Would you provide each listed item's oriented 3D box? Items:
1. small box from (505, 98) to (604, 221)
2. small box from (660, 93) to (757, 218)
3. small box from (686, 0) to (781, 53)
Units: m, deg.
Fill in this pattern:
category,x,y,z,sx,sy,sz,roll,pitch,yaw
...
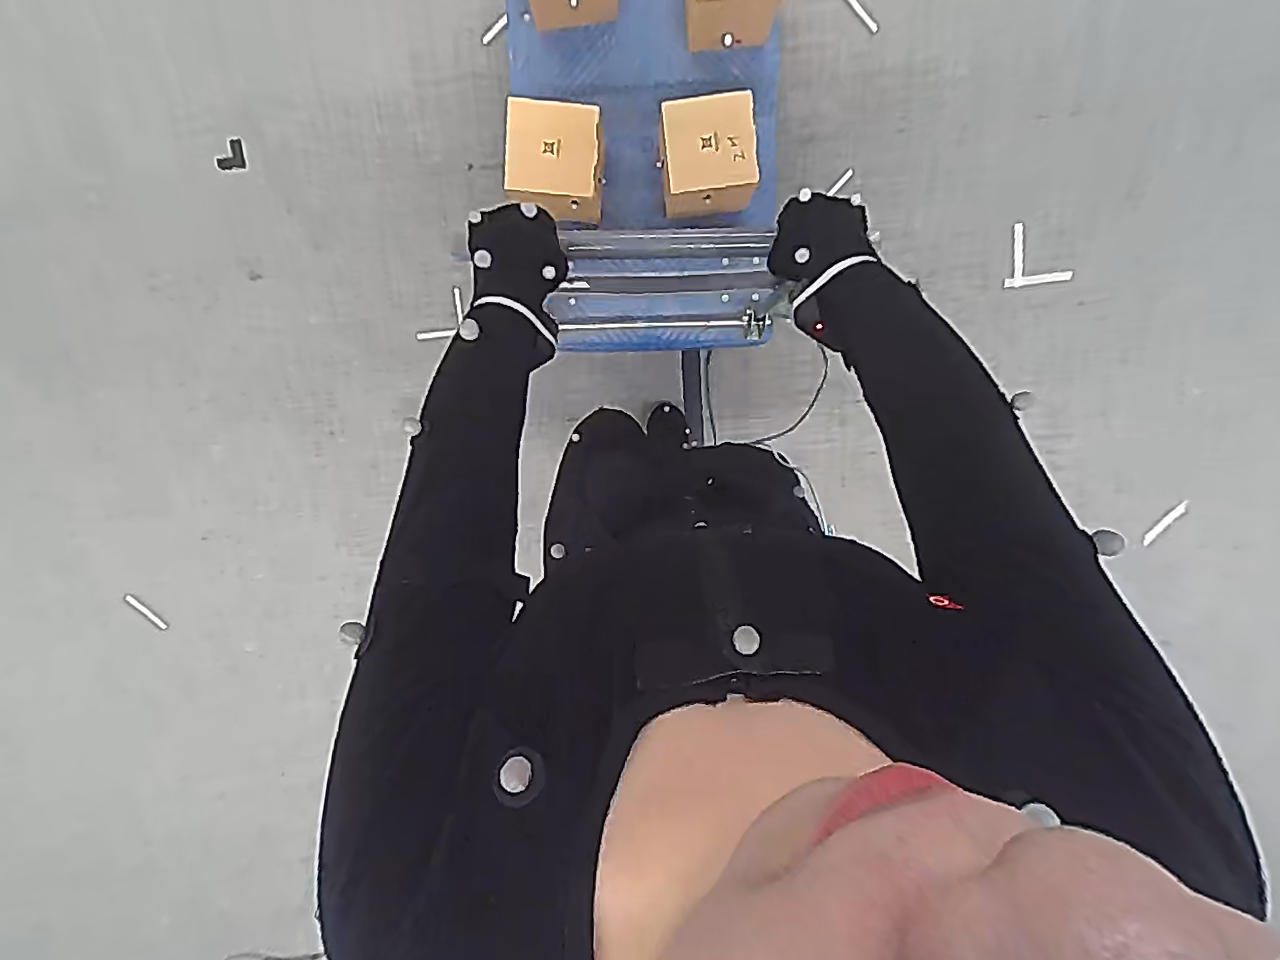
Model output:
category,x,y,z,sx,sy,sz,roll,pitch,yaw
small box,-0.171,-0.653,1.121,0.179,0.176,0.168,4,99,-3
small box,0.134,-0.661,1.121,0.179,0.176,0.168,-7,100,1
small box,0.178,-0.992,1.065,0.168,0.176,0.179,-5,101,1
